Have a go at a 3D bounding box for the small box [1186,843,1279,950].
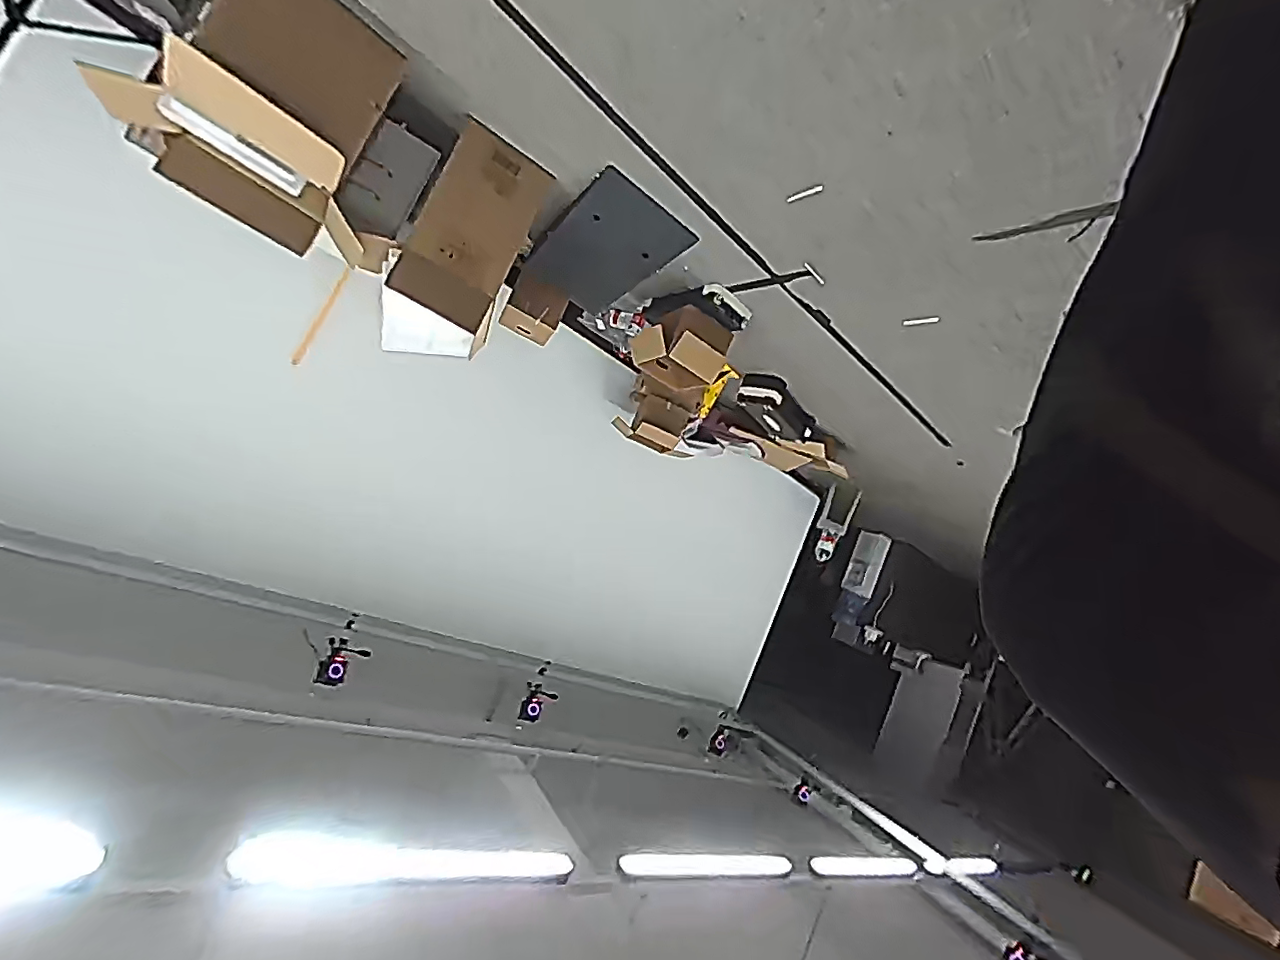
[{"bbox_3d":[1.679,1.159,1.521,0.179,0.176,0.168,28,171,-38],"label":"small box"}]
